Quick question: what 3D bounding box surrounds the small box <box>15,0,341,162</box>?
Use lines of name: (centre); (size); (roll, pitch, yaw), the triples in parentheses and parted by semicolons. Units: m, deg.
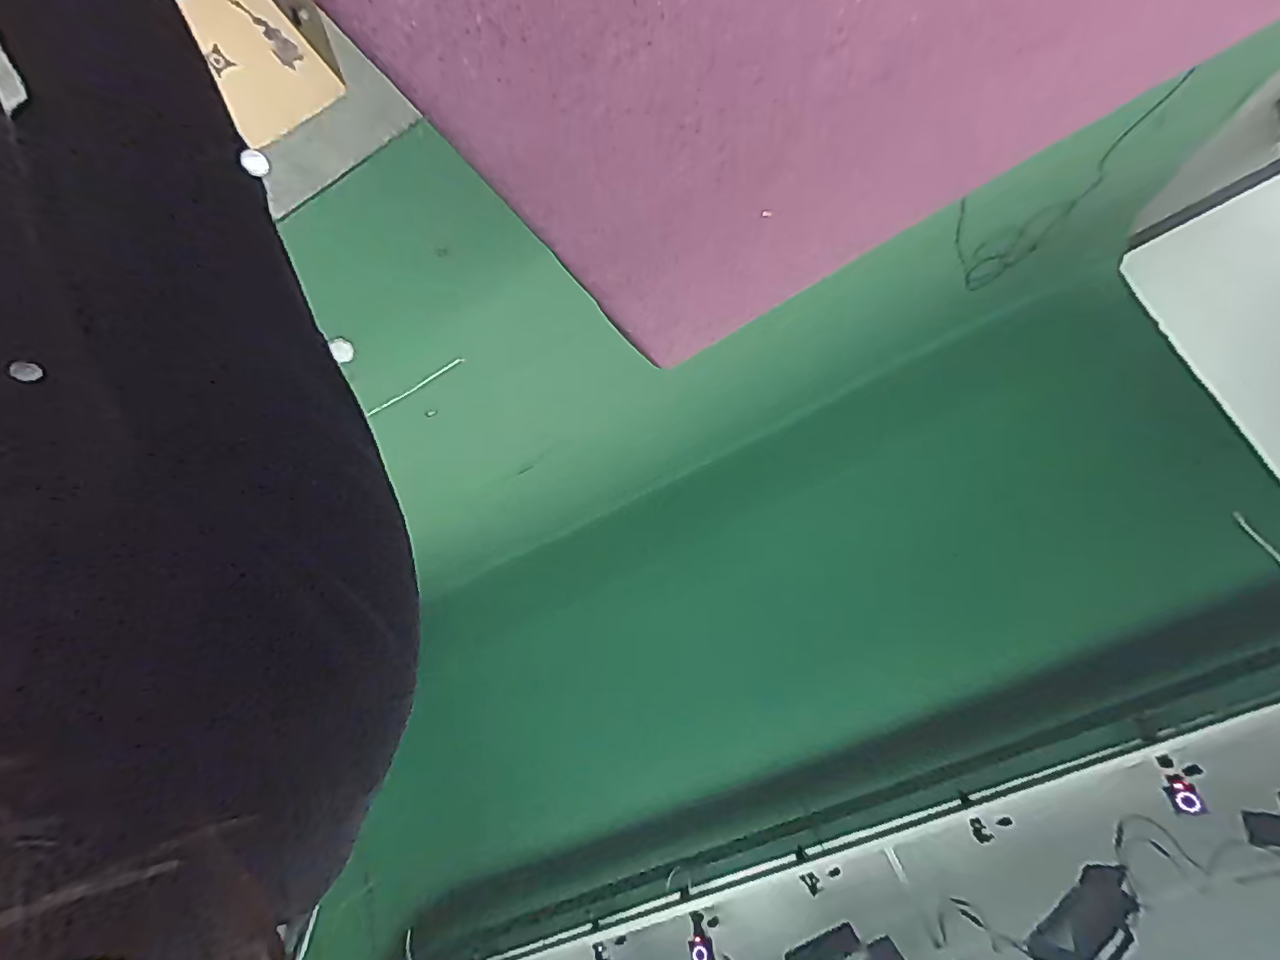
small box: (-0.433, -0.464, 0.517); (0.179, 0.176, 0.168); (-24, 168, 7)
